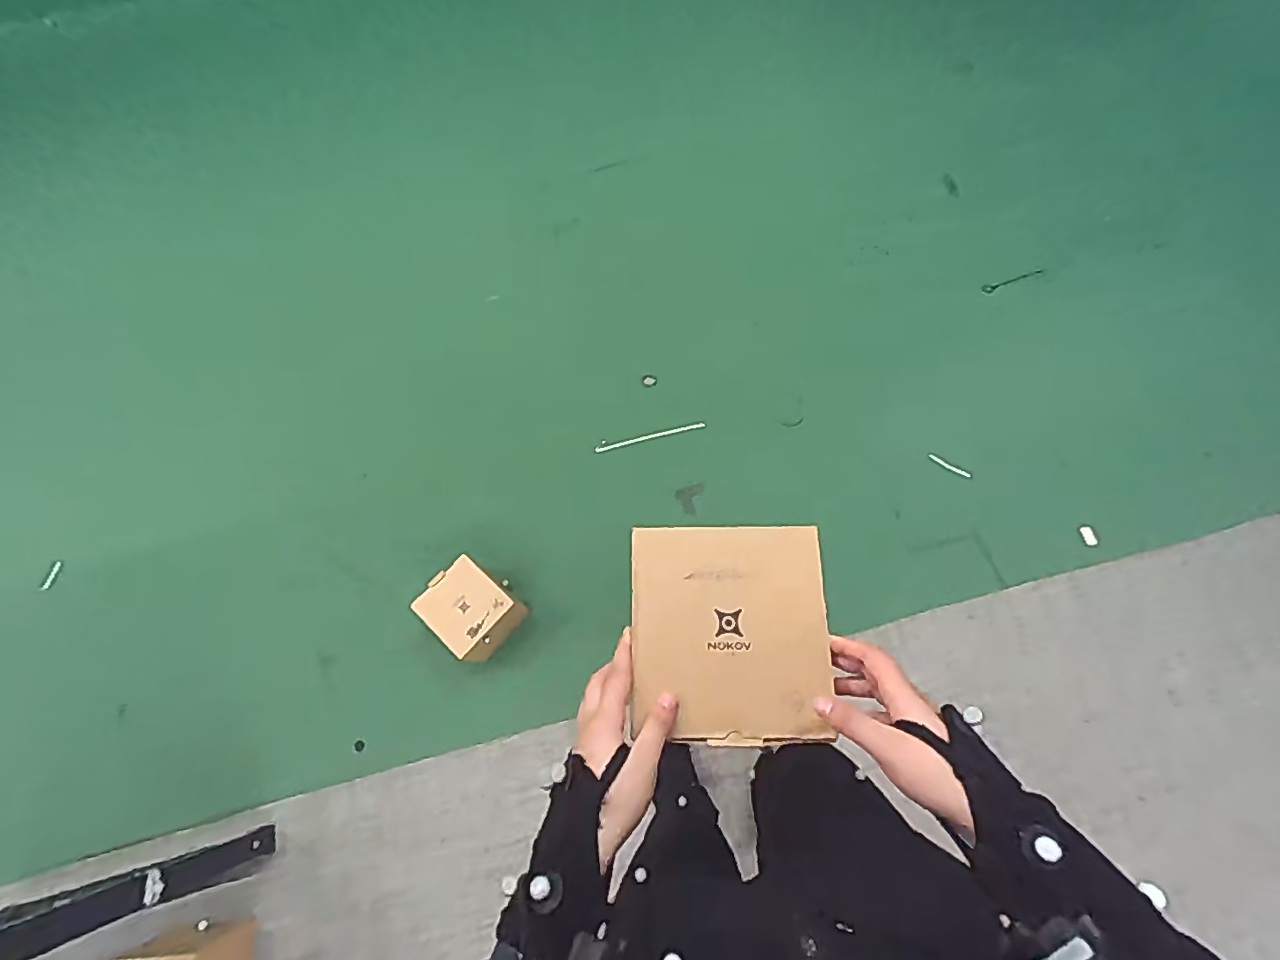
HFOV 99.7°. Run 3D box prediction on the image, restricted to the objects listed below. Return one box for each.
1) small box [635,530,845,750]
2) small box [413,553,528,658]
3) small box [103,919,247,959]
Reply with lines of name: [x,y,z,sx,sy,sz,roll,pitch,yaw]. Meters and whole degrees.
small box: [0.080,0.152,0.522,0.168,0.176,0.179,0,71,0]
small box: [-0.392,0.304,1.279,0.179,0.176,0.168,41,75,15]
small box: [-0.897,0.979,1.032,0.168,0.176,0.179,-2,68,0]
